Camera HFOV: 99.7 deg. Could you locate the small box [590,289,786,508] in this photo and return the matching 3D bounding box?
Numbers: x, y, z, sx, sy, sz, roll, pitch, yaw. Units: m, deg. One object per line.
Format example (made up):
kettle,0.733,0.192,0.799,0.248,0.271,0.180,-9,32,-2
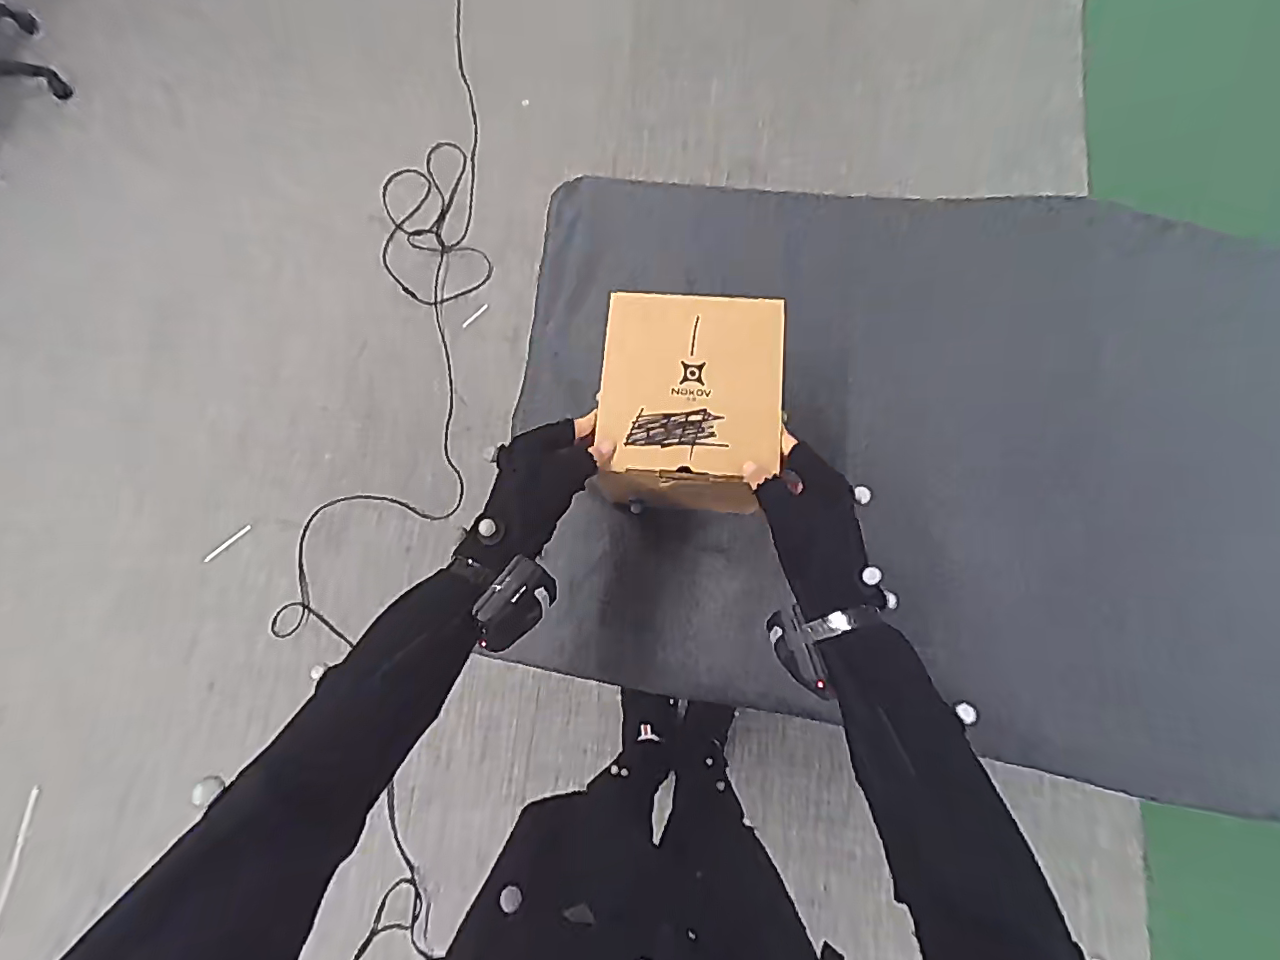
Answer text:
small box,0.050,-0.072,0.560,0.168,0.176,0.179,4,76,4
